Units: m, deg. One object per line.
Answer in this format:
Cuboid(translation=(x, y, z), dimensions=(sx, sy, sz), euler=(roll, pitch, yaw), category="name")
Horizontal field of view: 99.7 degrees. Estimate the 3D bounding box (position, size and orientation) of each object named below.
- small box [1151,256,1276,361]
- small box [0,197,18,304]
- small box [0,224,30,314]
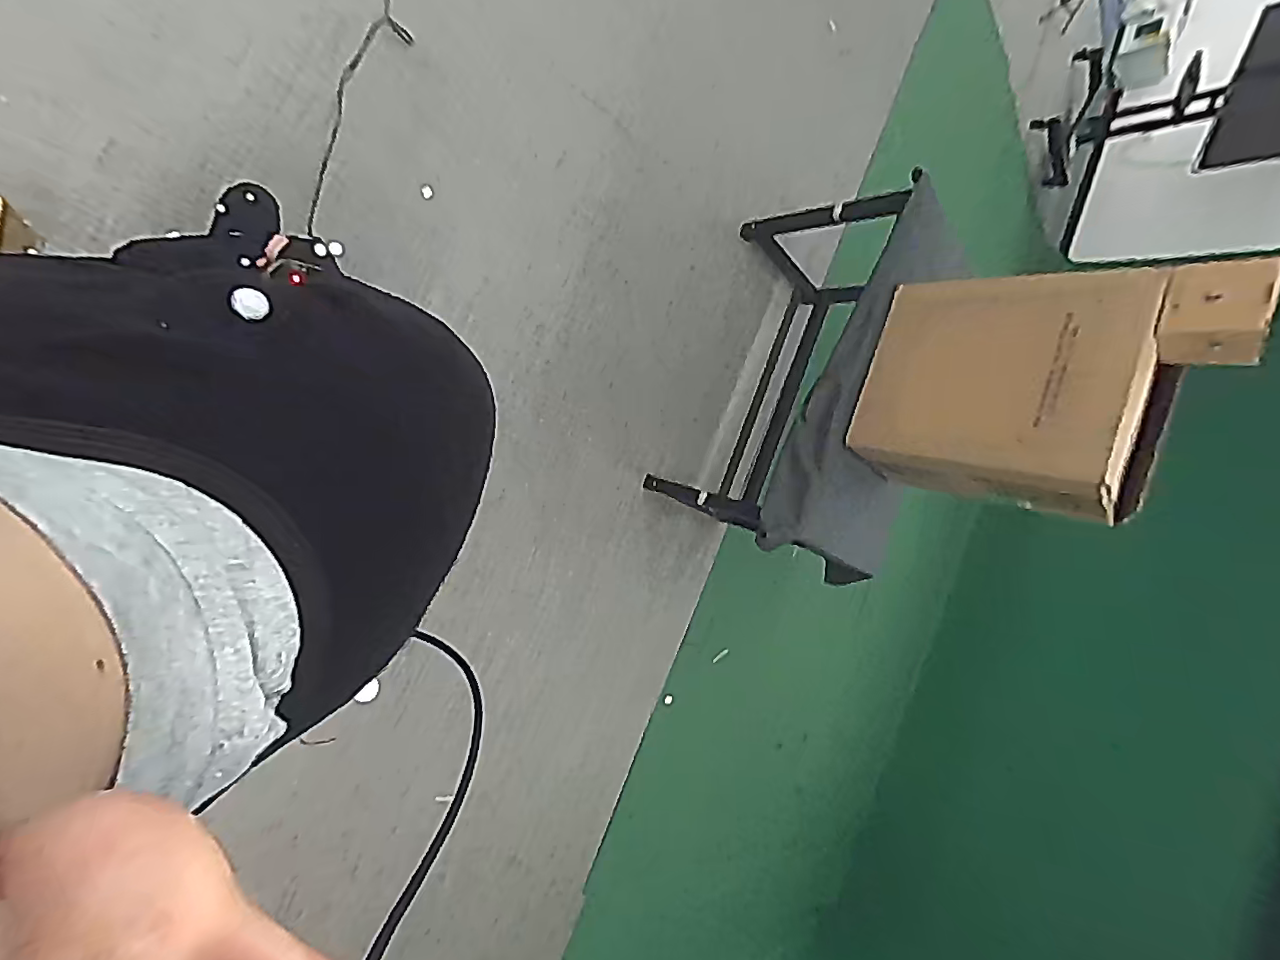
Cuboid(translation=(1.298, -0.380, 1.232), dimensions=(0.179, 0.176, 0.168), euler=(21, 87, -42), category="small box")
Cuboid(translation=(-1.057, -0.357, 0.783), dimensions=(0.179, 0.176, 0.168), euler=(9, 95, -44), category="small box")
Cuboid(translation=(-1.167, -0.384, 0.902), dimensions=(0.179, 0.176, 0.168), euler=(8, 95, -41), category="small box")
